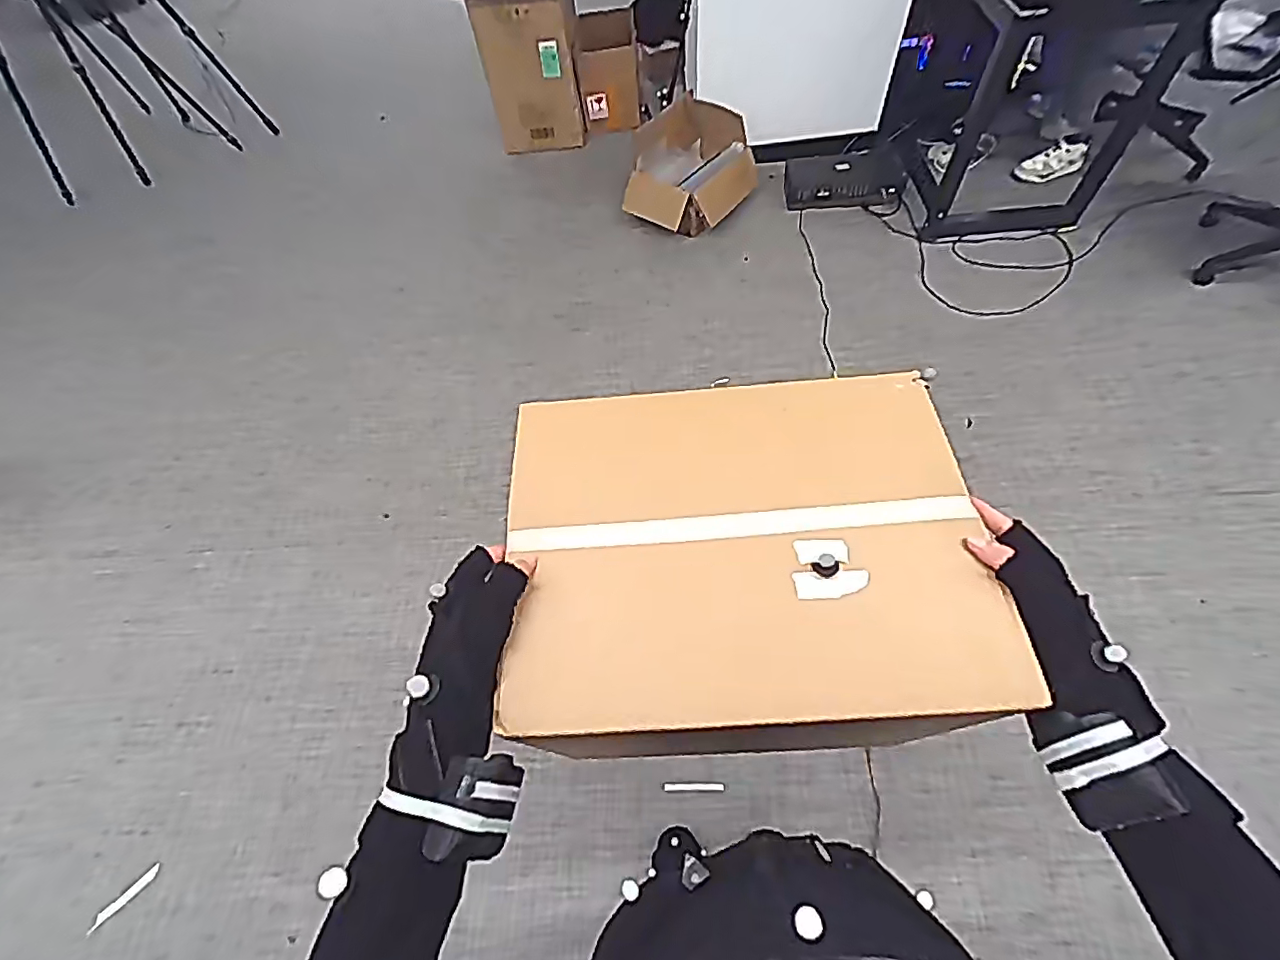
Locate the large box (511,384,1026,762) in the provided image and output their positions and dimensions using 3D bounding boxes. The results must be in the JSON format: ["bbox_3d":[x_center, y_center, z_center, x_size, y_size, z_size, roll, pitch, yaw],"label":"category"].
[{"bbox_3d":[0.097,0.124,0.614,0.408,0.320,0.320,-4,59,3],"label":"large box"}]
